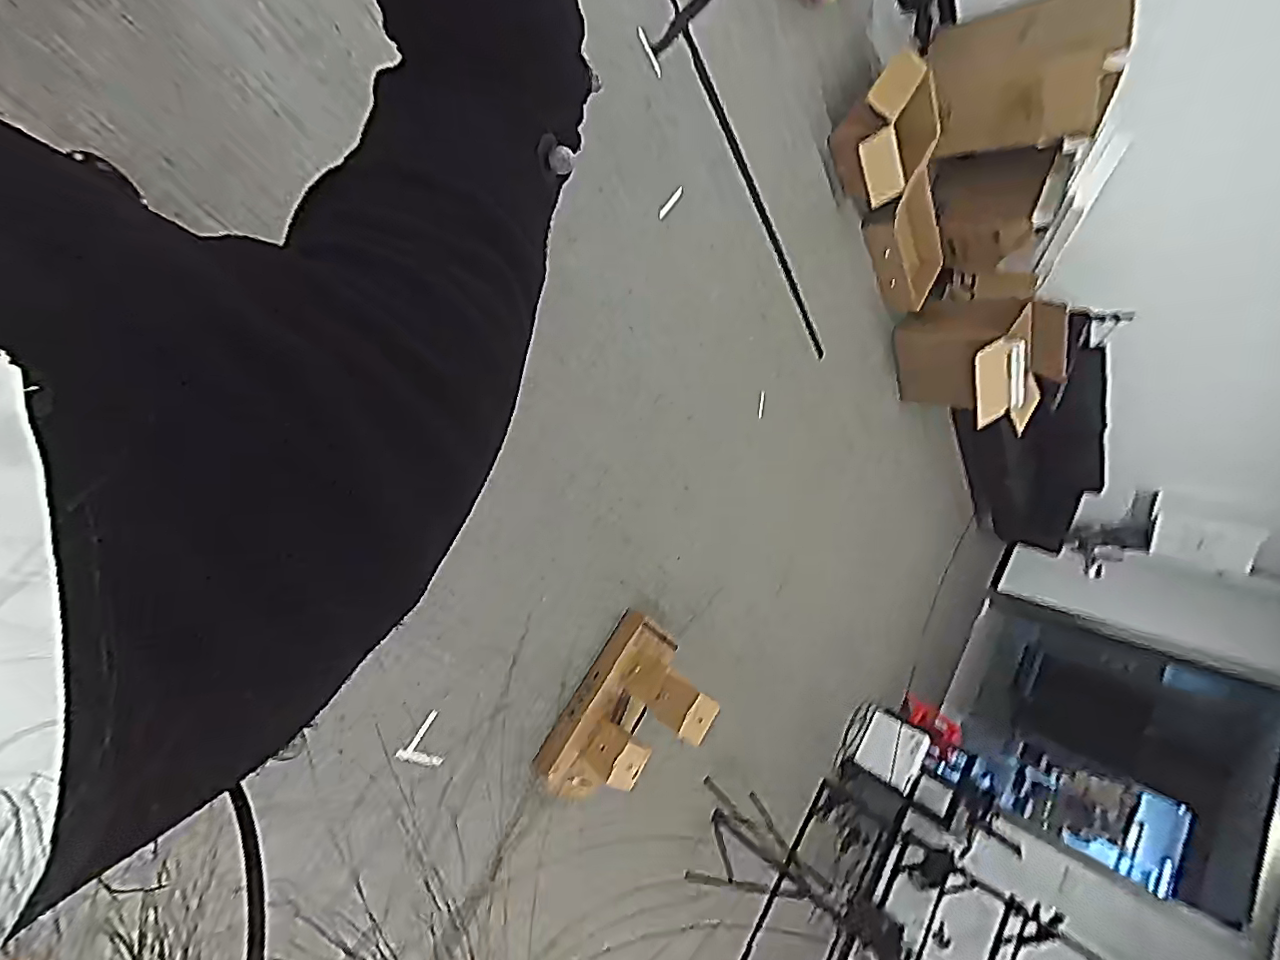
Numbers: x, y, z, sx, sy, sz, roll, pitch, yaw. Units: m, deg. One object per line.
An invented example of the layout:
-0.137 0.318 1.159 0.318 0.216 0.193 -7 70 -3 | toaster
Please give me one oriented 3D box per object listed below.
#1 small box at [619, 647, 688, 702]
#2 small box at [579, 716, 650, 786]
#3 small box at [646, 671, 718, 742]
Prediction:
0.054 0.792 2.153 0.179 0.176 0.168 45 71 -40 | small box
-0.101 1.039 2.080 0.179 0.176 0.168 46 70 -41 | small box
0.157 0.847 2.035 0.168 0.176 0.179 -56 132 -16 | small box
